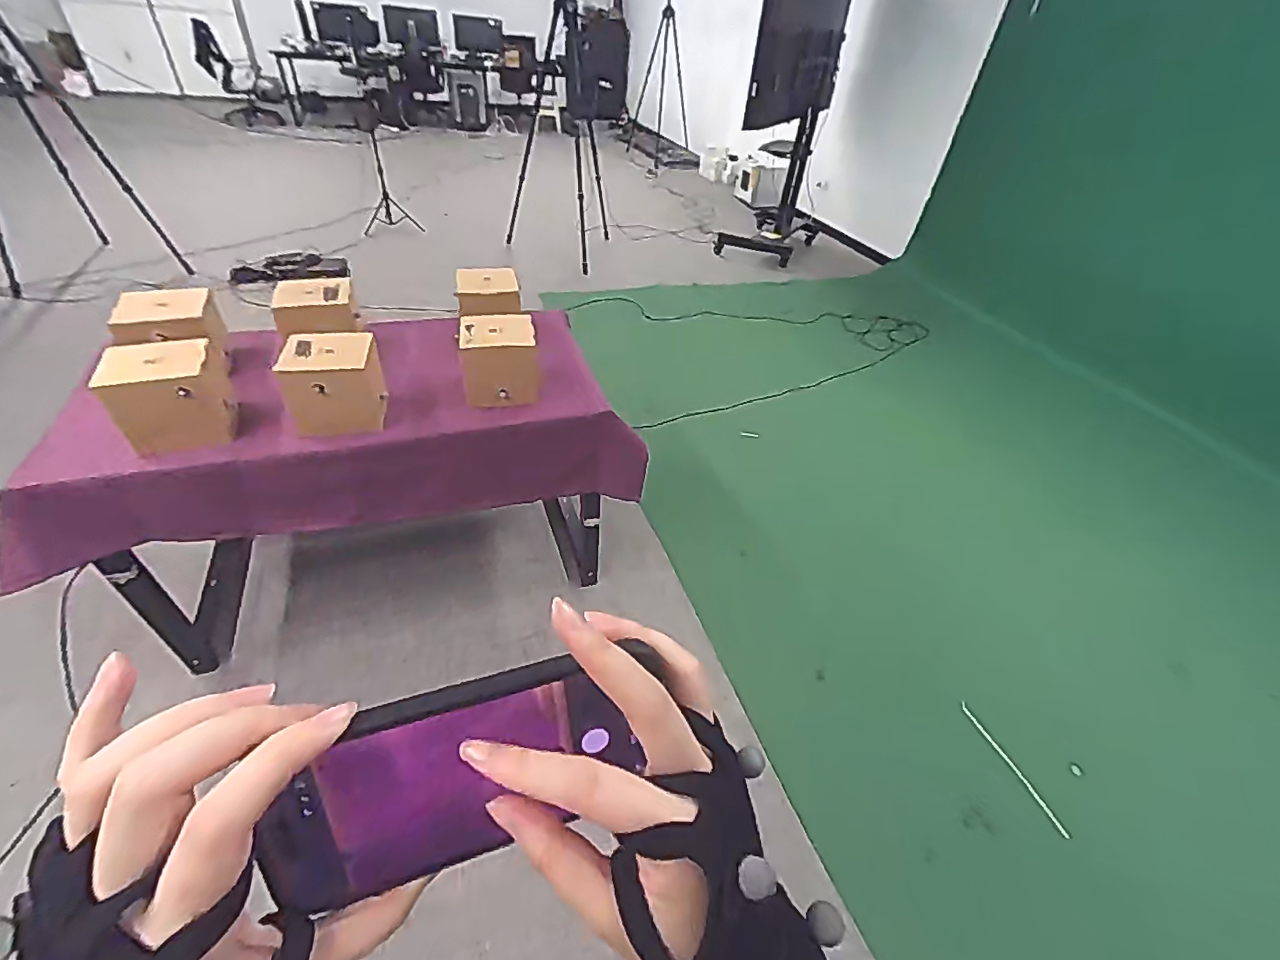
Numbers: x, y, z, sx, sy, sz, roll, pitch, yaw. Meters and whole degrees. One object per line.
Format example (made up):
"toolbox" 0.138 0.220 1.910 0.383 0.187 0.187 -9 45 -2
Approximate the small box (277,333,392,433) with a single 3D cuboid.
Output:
"small box" -0.682 -0.219 1.229 0.179 0.176 0.168 -5 43 -14

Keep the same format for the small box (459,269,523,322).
"small box" -0.434 -0.505 1.585 0.168 0.176 0.179 -7 44 -15

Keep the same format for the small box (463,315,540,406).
"small box" -0.346 -0.299 1.365 0.179 0.176 0.168 -4 42 -13

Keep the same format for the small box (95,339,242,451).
"small box" -0.981 -0.179 1.144 0.179 0.176 0.168 -13 44 -23
